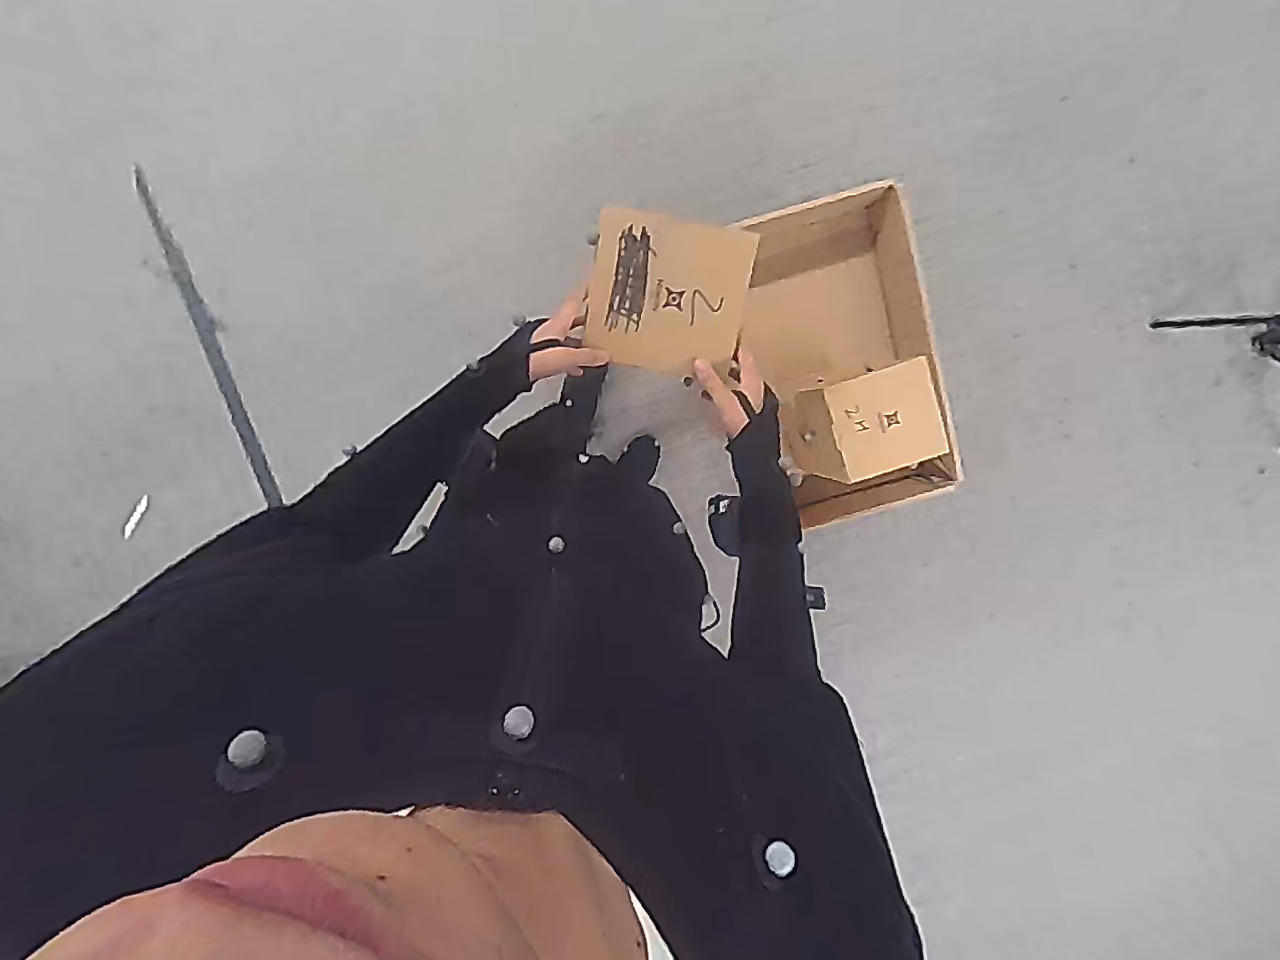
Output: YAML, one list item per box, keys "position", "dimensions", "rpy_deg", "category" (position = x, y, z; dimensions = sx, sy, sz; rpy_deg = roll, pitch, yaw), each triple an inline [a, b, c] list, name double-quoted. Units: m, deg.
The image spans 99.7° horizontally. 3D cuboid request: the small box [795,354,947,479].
- position: [0.400, -0.114, 0.959]
  dimensions: [0.179, 0.176, 0.168]
  rpy_deg: [-18, 97, 2]
  category: "small box"
